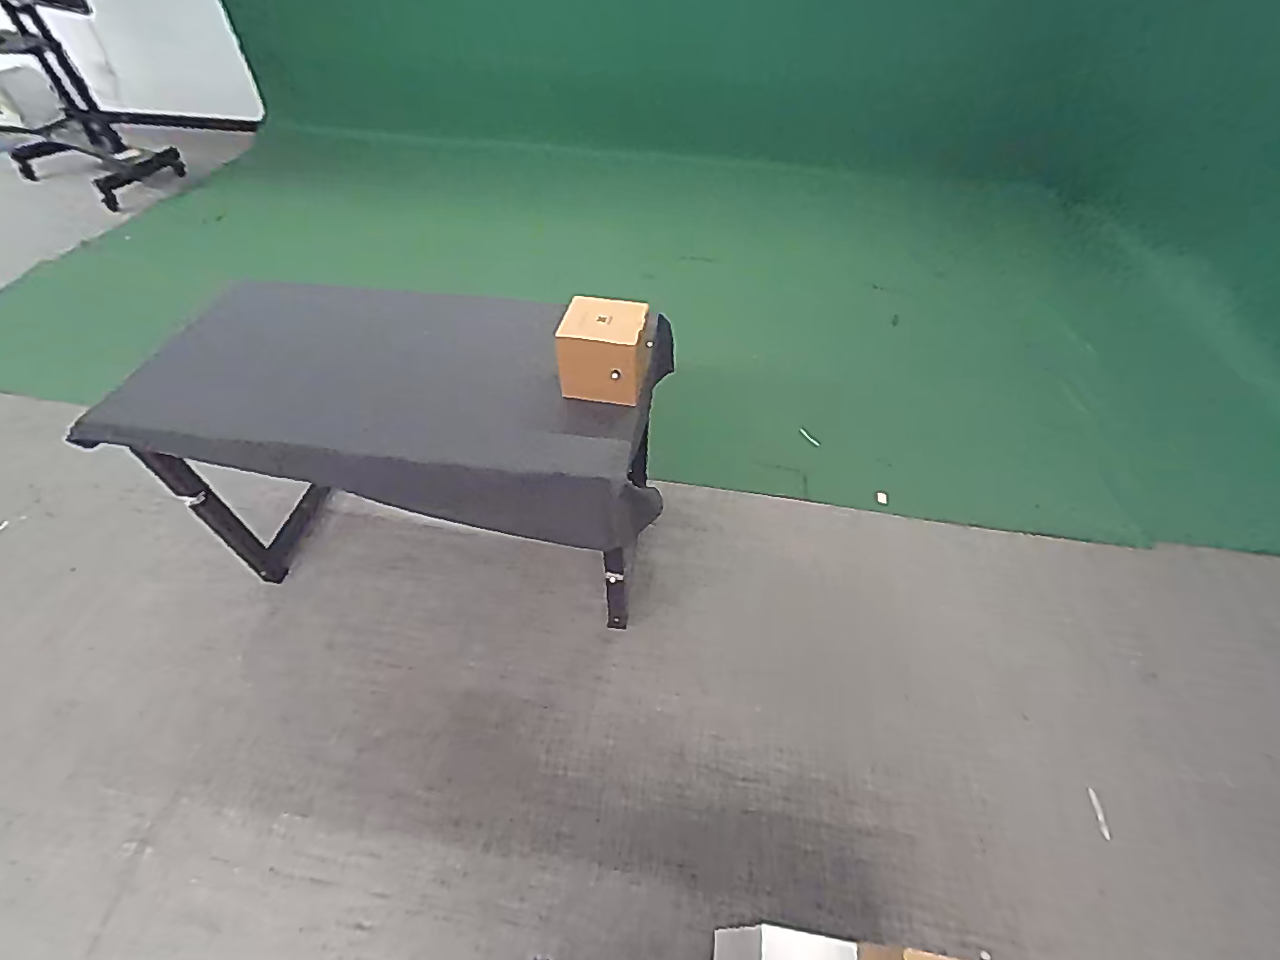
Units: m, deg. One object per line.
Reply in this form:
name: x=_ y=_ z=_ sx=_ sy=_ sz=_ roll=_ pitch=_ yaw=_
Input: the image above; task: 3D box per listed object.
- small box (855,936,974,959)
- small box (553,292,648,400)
small box: x=0.353 y=0.646 z=0.608 sx=0.168 sy=0.176 sz=0.179 roll=8 pitch=53 yaw=6
small box: x=-0.080 y=-0.300 z=1.222 sx=0.179 sy=0.176 sz=0.168 roll=7 pitch=49 yaw=7
